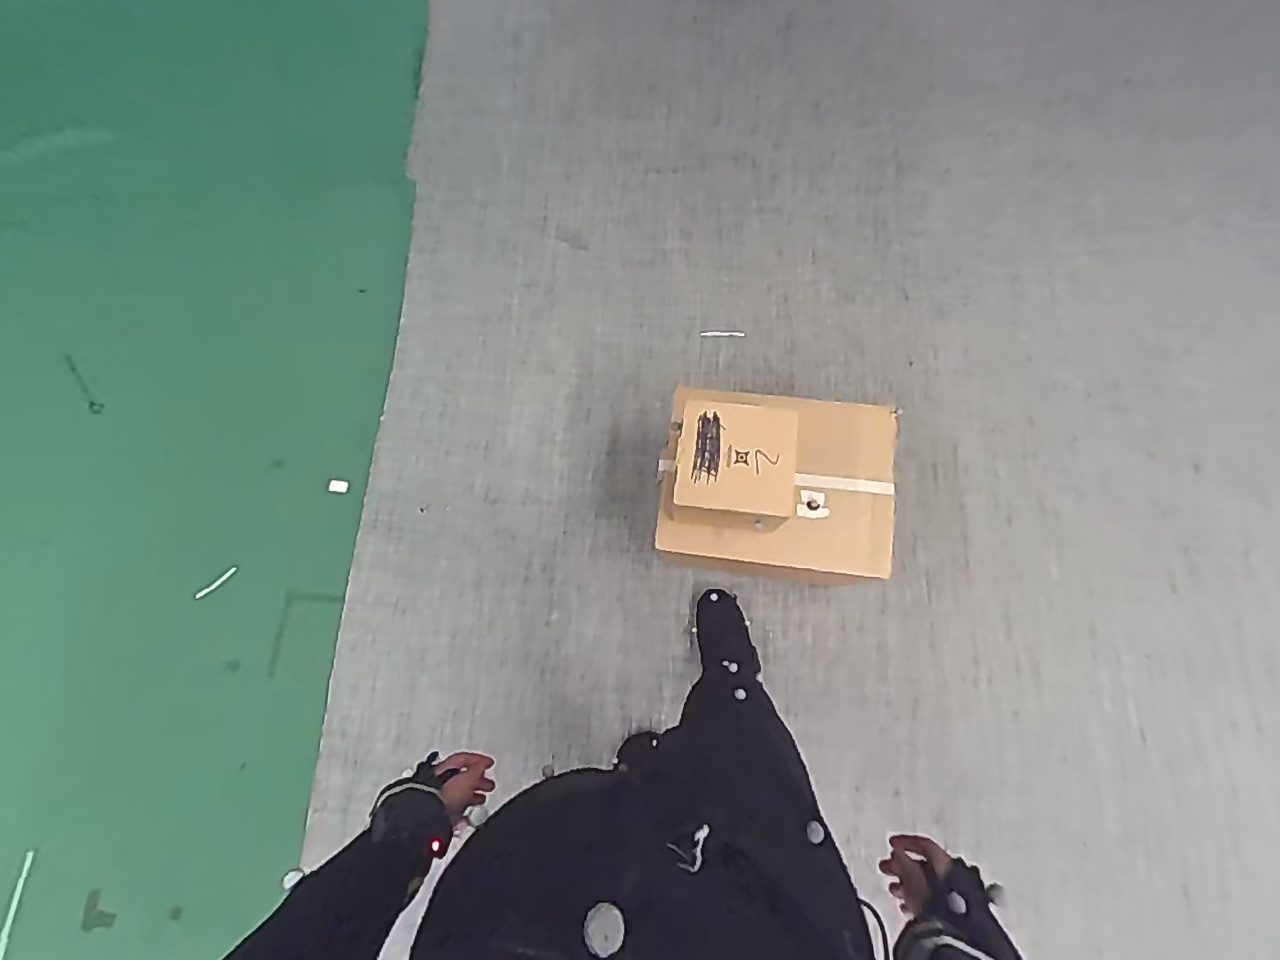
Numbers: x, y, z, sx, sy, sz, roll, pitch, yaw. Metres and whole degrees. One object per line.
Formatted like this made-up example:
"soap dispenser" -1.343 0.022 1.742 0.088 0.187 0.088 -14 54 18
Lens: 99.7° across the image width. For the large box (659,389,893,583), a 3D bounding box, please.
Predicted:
"large box" 0.253 0.030 1.108 0.408 0.320 0.320 6 78 6
